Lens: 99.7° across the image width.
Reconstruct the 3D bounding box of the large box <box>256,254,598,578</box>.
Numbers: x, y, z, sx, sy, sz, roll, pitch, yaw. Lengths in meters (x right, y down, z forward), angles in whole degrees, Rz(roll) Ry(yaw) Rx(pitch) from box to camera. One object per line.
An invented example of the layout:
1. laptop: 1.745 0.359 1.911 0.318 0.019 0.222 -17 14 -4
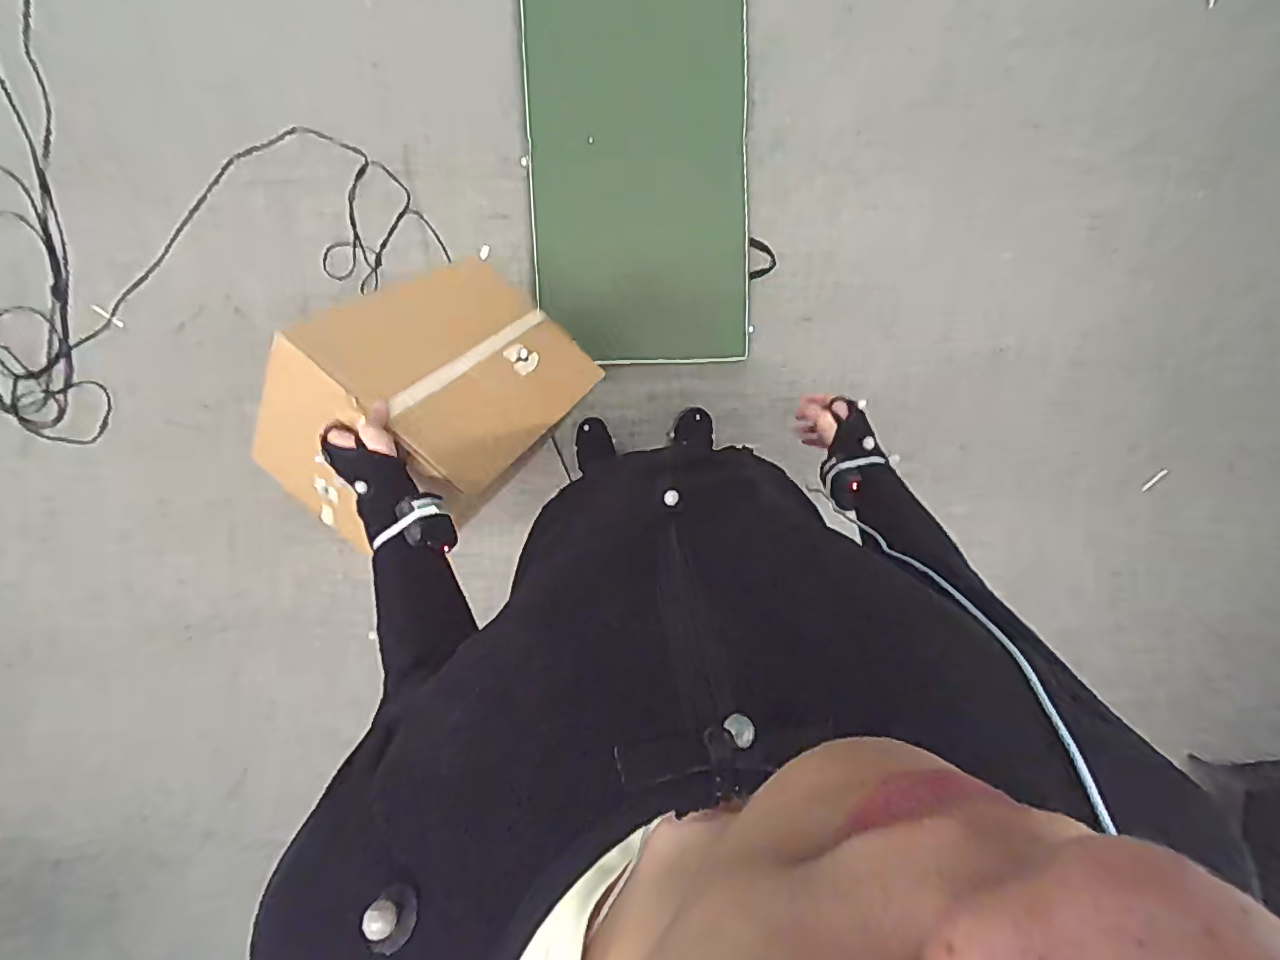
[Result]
1. large box: -0.344 -0.113 0.922 0.320 0.408 0.320 45 131 -8
